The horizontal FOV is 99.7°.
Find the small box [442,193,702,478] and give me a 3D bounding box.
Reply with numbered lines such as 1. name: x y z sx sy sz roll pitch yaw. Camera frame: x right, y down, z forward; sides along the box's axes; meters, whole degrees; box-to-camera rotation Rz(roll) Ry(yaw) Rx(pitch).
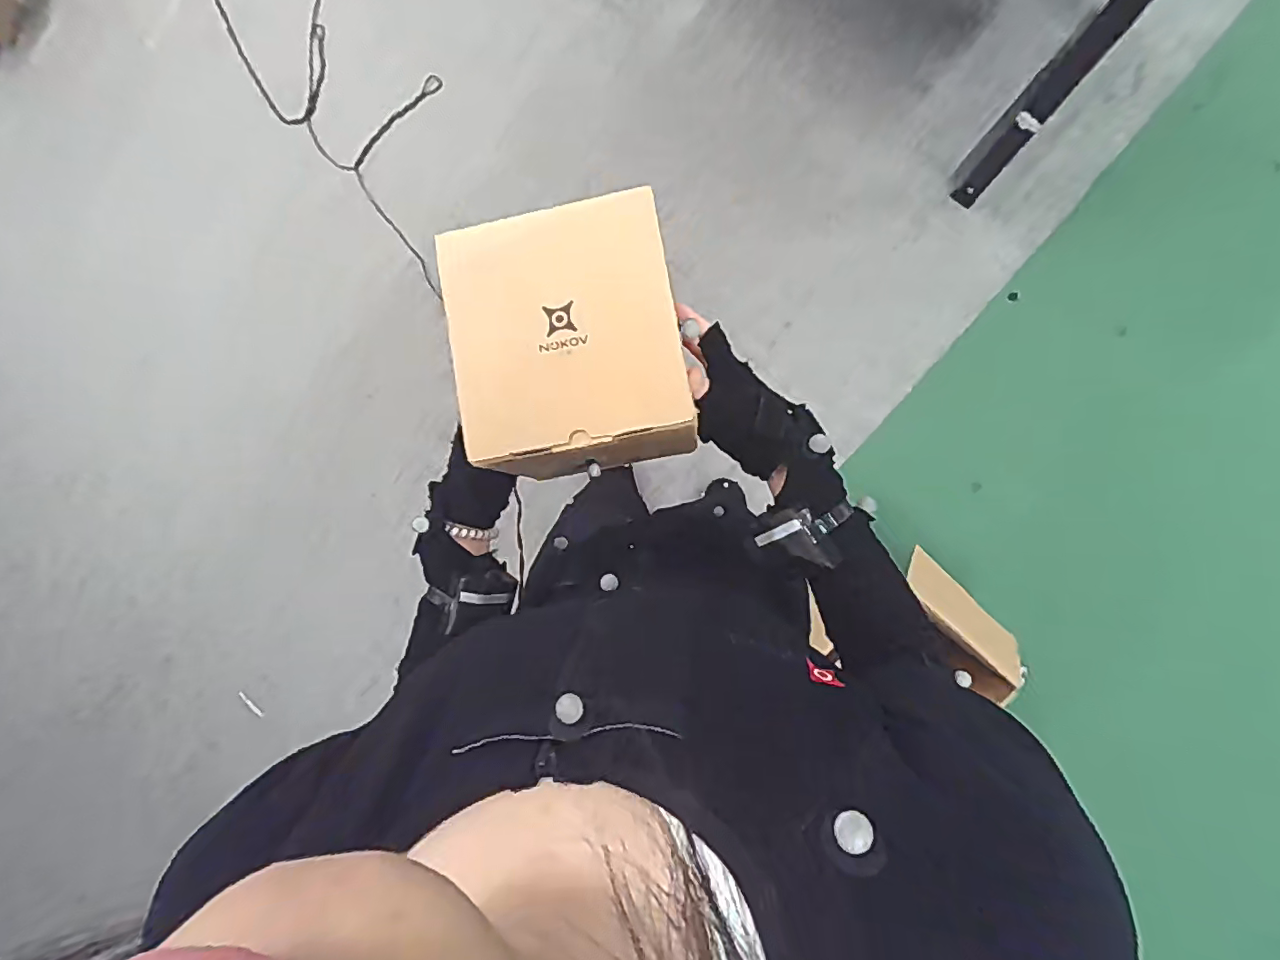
1. small box: -0.046 -0.104 0.468 0.168 0.176 0.179 -11 87 4
